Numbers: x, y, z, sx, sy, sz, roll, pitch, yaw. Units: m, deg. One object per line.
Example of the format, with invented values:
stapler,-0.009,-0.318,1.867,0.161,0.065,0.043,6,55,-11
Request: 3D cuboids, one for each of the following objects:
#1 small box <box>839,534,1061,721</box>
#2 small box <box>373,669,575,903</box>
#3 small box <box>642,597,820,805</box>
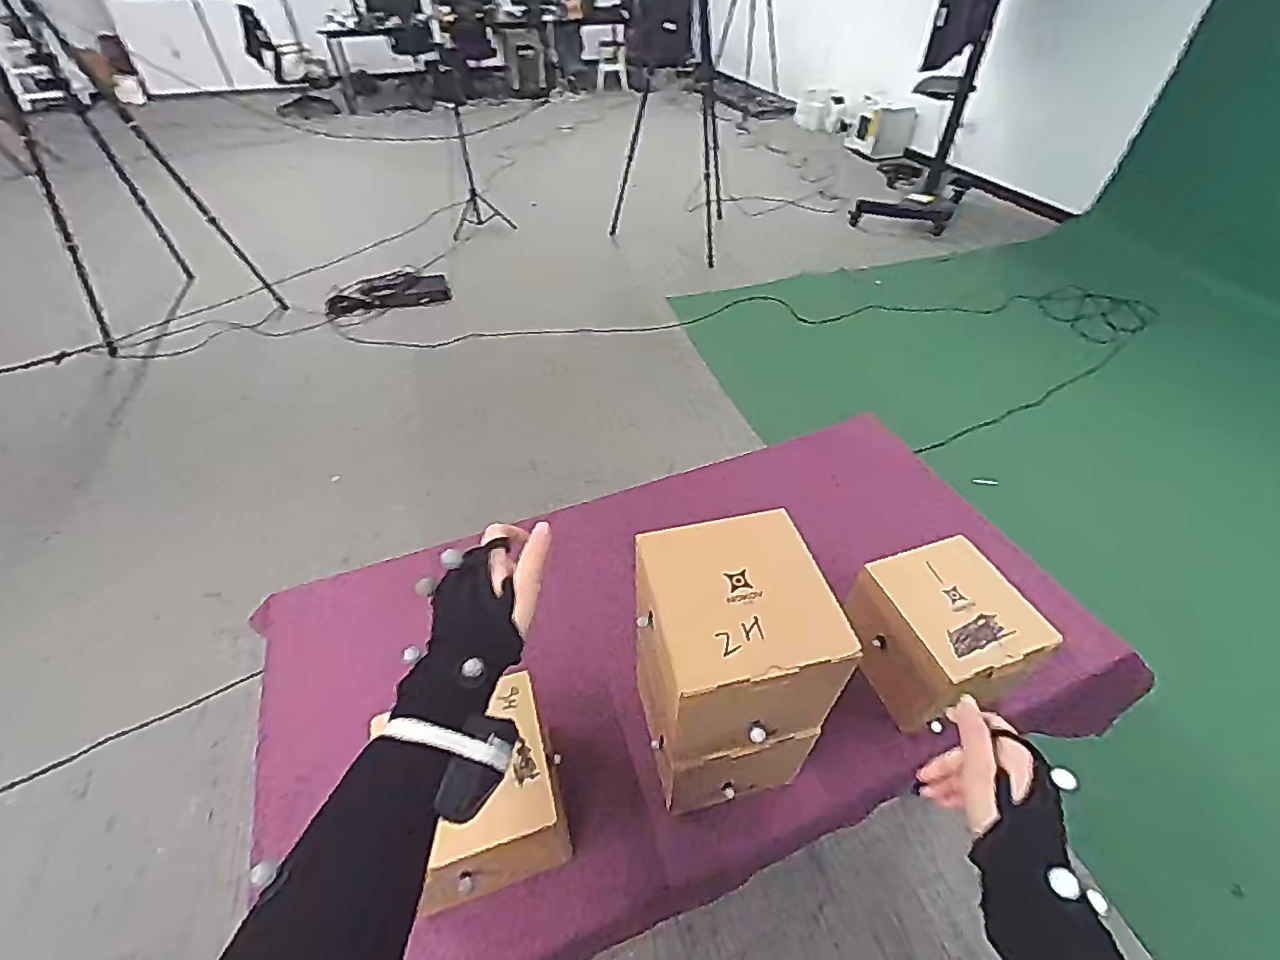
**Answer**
small box,0.405,0.208,0.744,0.168,0.176,0.179,-14,47,-12
small box,-0.183,0.350,0.618,0.179,0.176,0.168,-14,48,-12
small box,0.098,0.278,0.685,0.168,0.176,0.179,-10,47,-9
